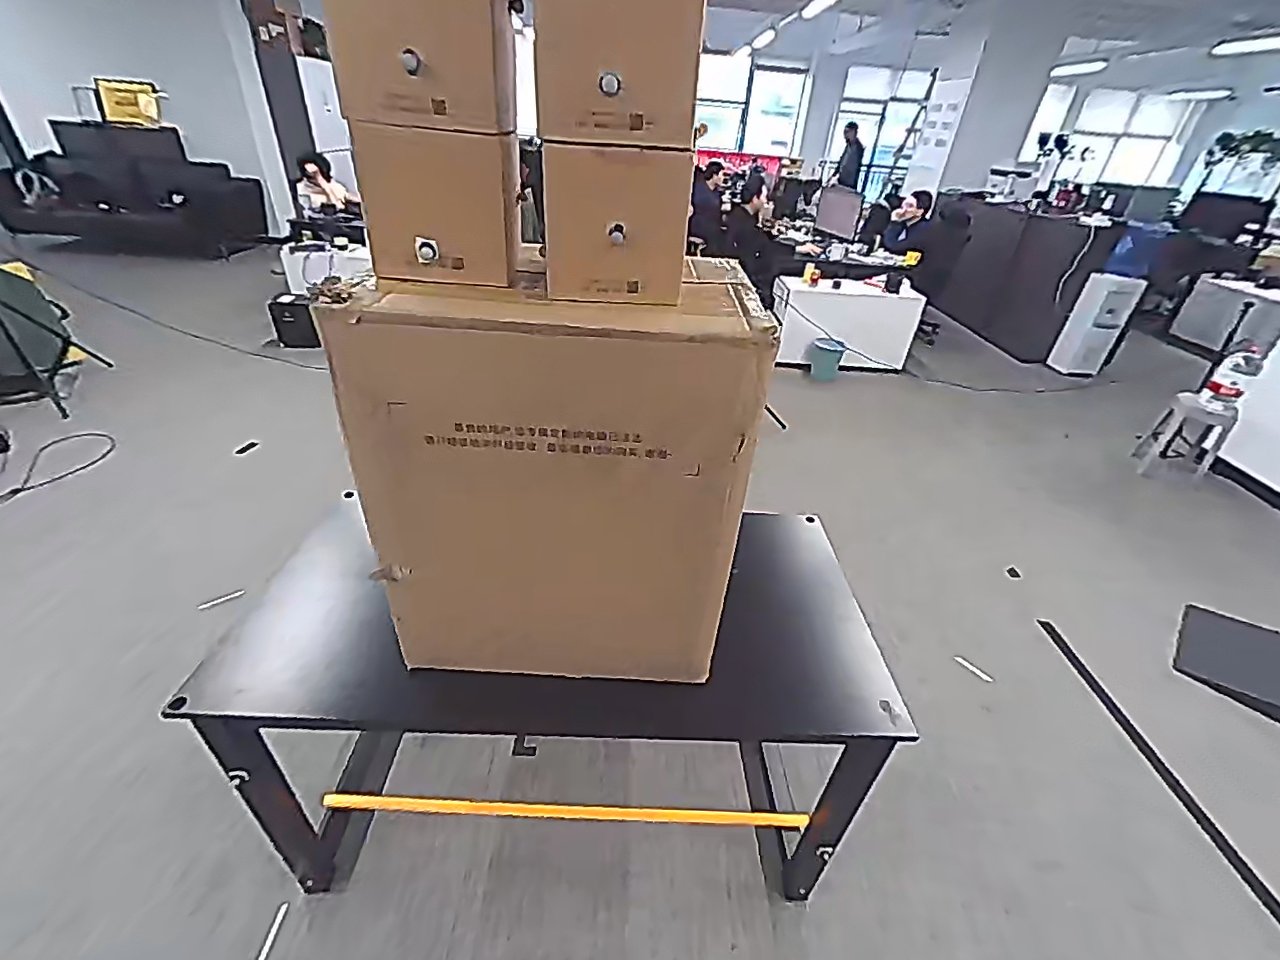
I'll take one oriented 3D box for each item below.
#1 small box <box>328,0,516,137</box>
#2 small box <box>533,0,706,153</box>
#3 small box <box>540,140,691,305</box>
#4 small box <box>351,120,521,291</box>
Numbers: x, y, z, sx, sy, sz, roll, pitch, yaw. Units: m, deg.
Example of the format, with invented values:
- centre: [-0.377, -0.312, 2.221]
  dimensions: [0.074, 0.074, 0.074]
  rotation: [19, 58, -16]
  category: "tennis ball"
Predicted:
- centre: [-0.234, -0.493, 0.608]
  dimensions: [0.168, 0.176, 0.179]
  rotation: [2, 34, -5]
  category: "small box"
- centre: [-0.024, -0.463, 0.589]
  dimensions: [0.168, 0.176, 0.179]
  rotation: [2, 34, -3]
  category: "small box"
- centre: [-0.031, -0.329, 0.686]
  dimensions: [0.168, 0.176, 0.179]
  rotation: [1, 35, -4]
  category: "small box"
- centre: [-0.246, -0.357, 0.700]
  dimensions: [0.168, 0.176, 0.179]
  rotation: [1, 35, -7]
  category: "small box"
